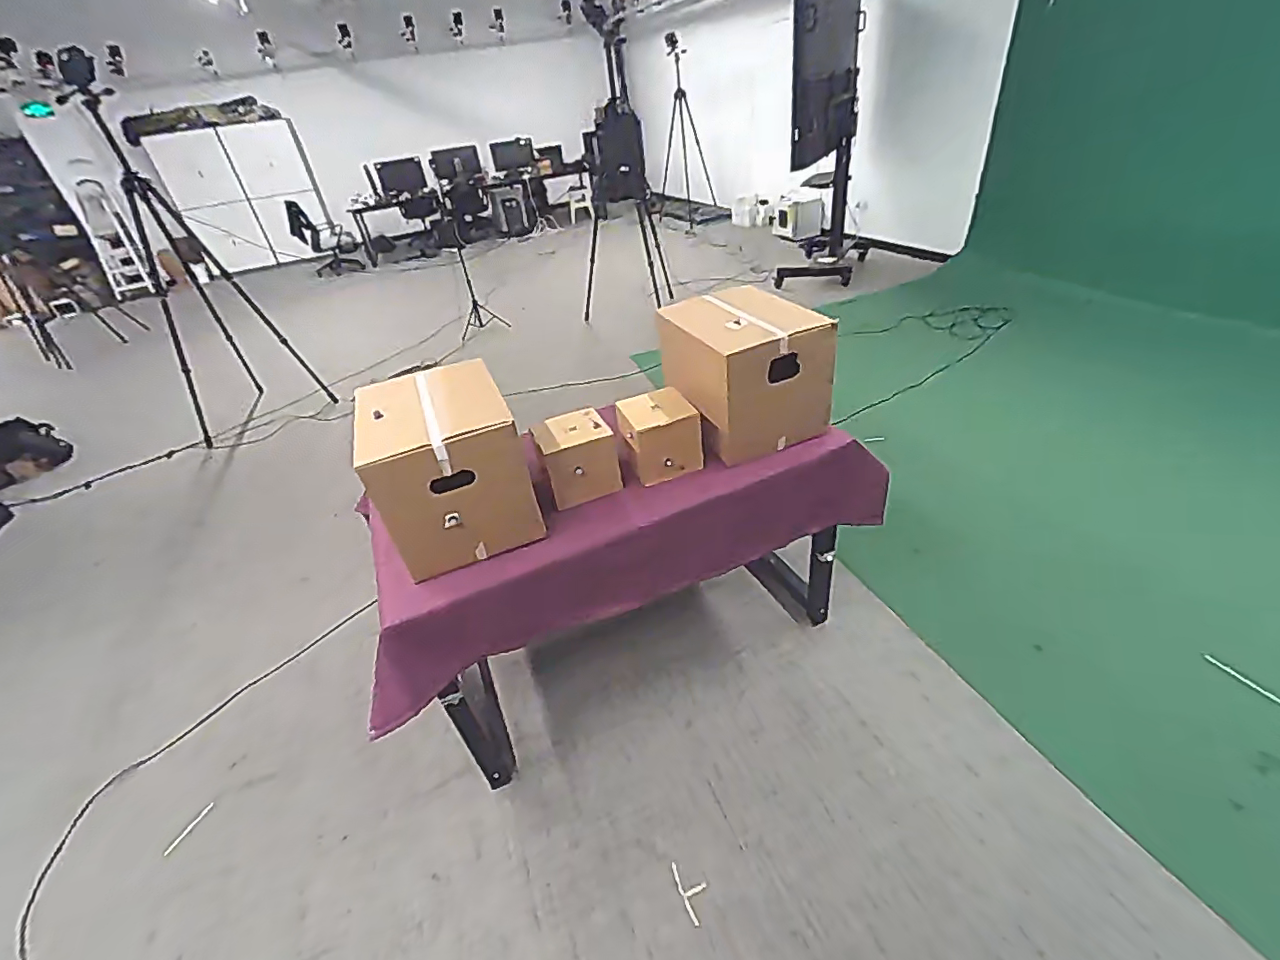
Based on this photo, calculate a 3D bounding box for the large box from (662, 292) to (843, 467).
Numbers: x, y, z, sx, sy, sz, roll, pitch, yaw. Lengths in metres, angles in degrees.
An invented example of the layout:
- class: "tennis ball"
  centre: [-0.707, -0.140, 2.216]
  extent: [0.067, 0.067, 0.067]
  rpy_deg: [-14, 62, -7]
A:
- class: "large box"
  centre: [0.288, -0.293, 1.500]
  extent: [0.320, 0.320, 0.408]
  rpy_deg: [-19, 37, -14]
